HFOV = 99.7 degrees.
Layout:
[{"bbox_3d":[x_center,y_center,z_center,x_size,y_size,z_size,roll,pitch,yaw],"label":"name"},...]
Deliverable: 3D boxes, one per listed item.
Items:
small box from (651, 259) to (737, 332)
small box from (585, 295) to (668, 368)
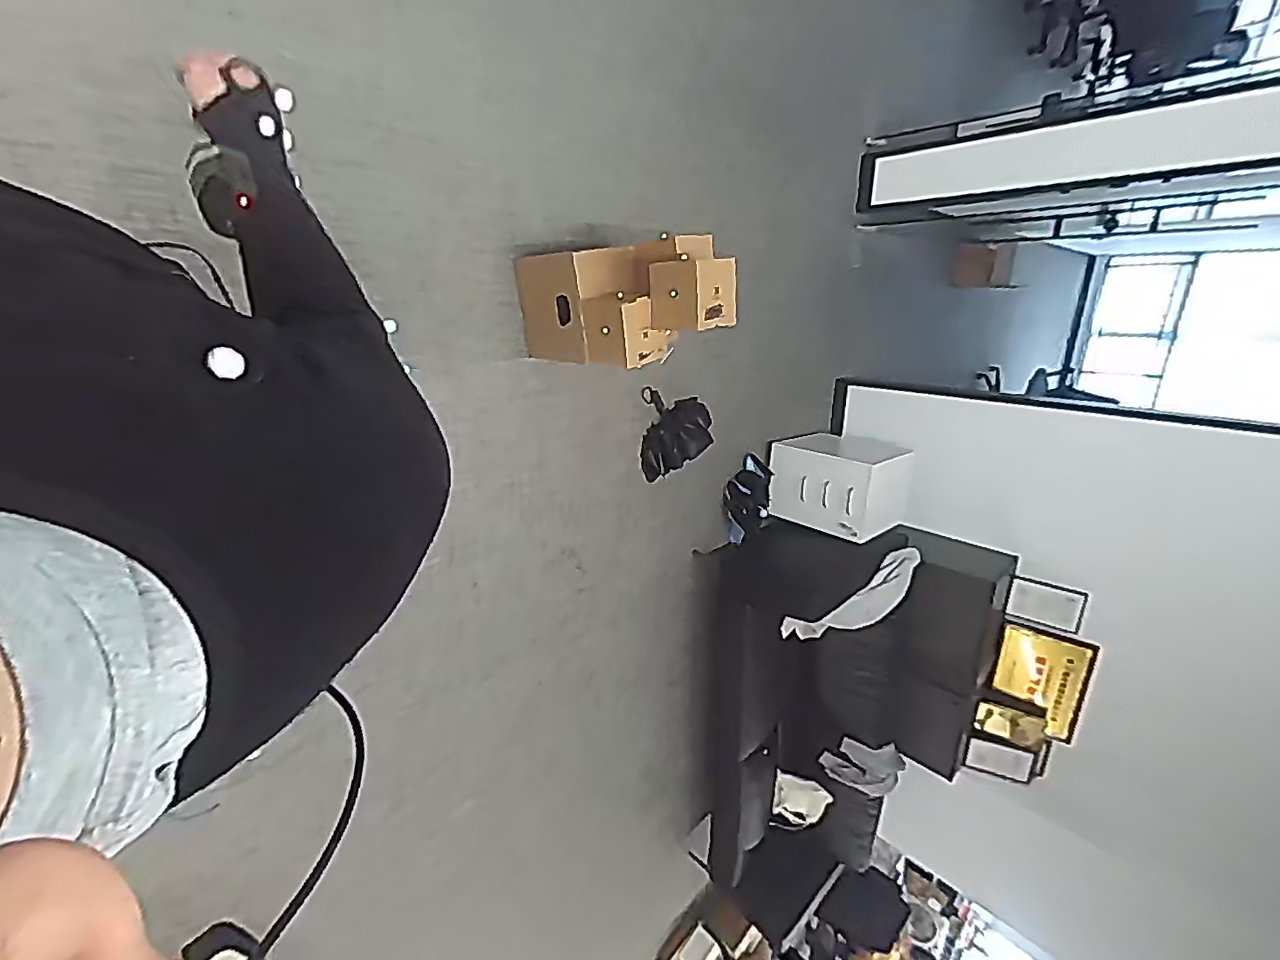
[{"bbox_3d":[0.146,-0.504,1.474,0.168,0.176,0.179,-22,116,-40],"label":"small box"},{"bbox_3d":[-0.040,-0.431,1.552,0.168,0.176,0.179,-27,122,-36],"label":"small box"}]
